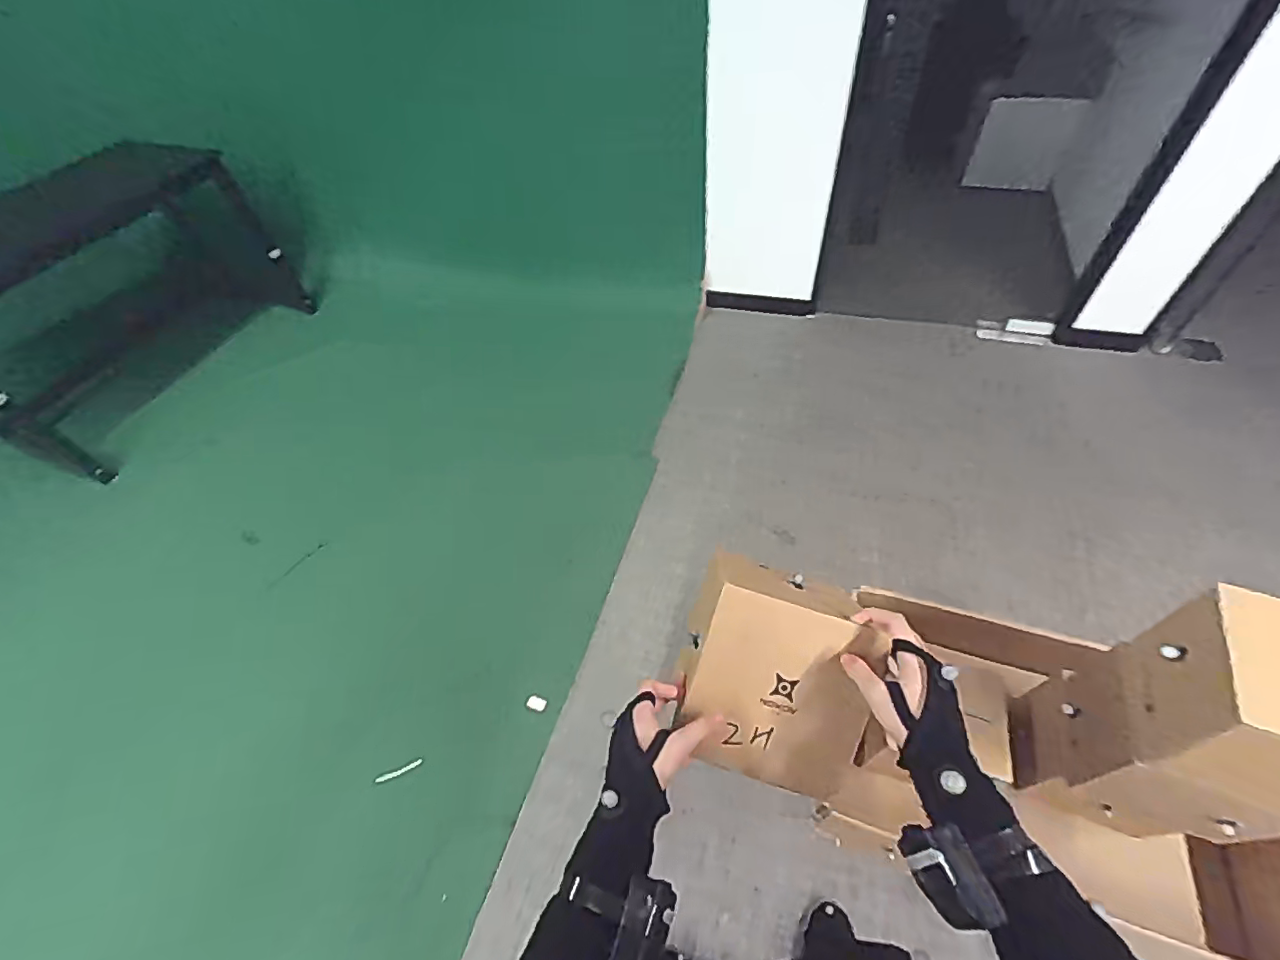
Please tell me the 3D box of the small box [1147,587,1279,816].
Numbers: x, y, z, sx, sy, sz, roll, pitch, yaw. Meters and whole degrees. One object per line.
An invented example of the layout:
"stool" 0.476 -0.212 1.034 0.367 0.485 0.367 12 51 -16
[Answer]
"small box" 0.692 0.248 0.579 0.179 0.176 0.168 17 56 20

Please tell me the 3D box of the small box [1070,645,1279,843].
"small box" 0.707 0.347 0.706 0.179 0.176 0.168 15 56 20

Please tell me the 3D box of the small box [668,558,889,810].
"small box" 0.131 0.198 0.580 0.168 0.176 0.179 17 96 3
